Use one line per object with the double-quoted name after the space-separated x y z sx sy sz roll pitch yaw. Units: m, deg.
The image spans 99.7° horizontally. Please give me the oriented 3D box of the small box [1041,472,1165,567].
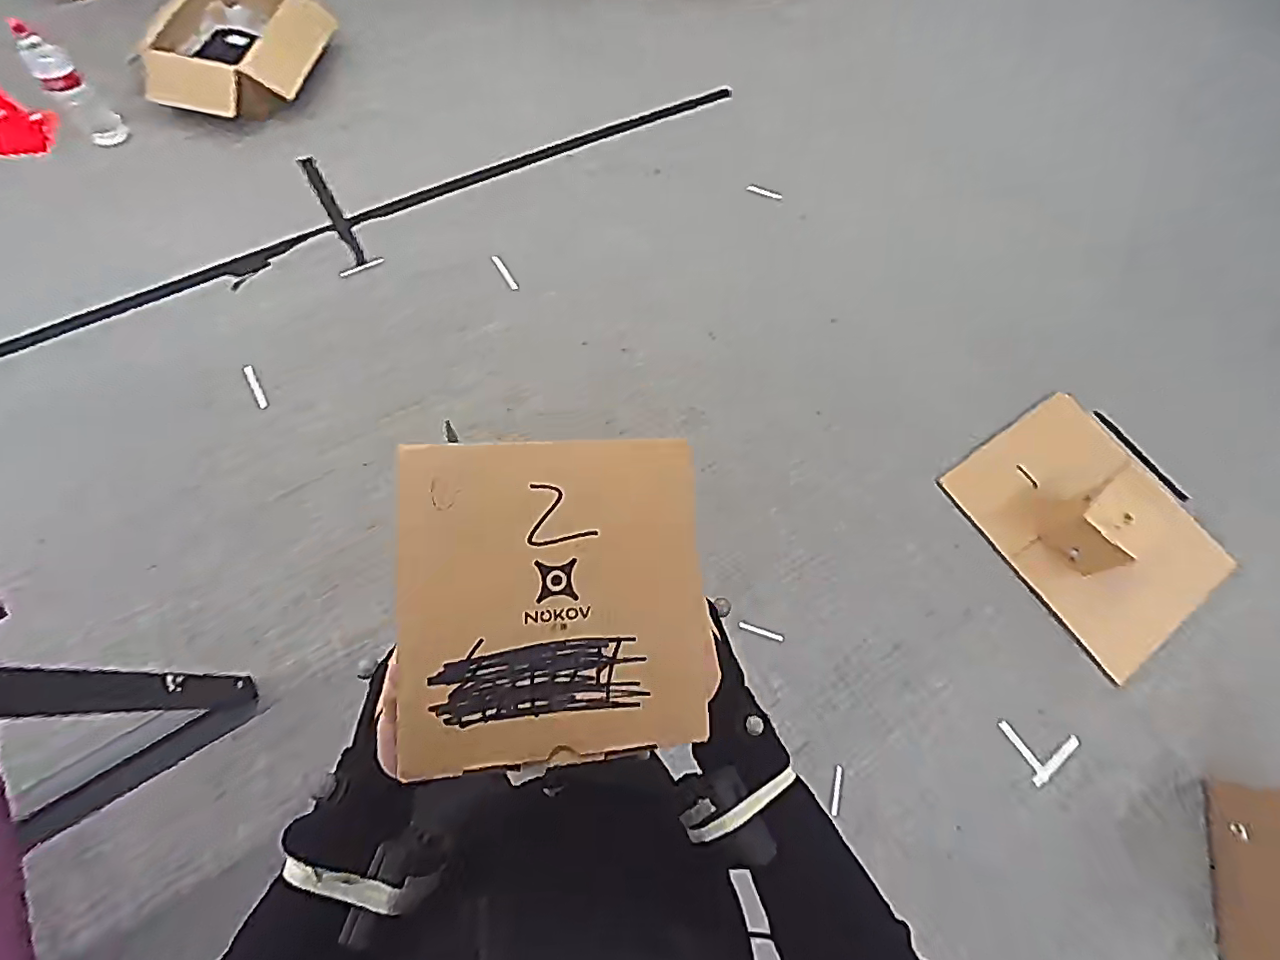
1.277 0.115 1.506 0.179 0.176 0.168 -40 74 -17 "small box"
